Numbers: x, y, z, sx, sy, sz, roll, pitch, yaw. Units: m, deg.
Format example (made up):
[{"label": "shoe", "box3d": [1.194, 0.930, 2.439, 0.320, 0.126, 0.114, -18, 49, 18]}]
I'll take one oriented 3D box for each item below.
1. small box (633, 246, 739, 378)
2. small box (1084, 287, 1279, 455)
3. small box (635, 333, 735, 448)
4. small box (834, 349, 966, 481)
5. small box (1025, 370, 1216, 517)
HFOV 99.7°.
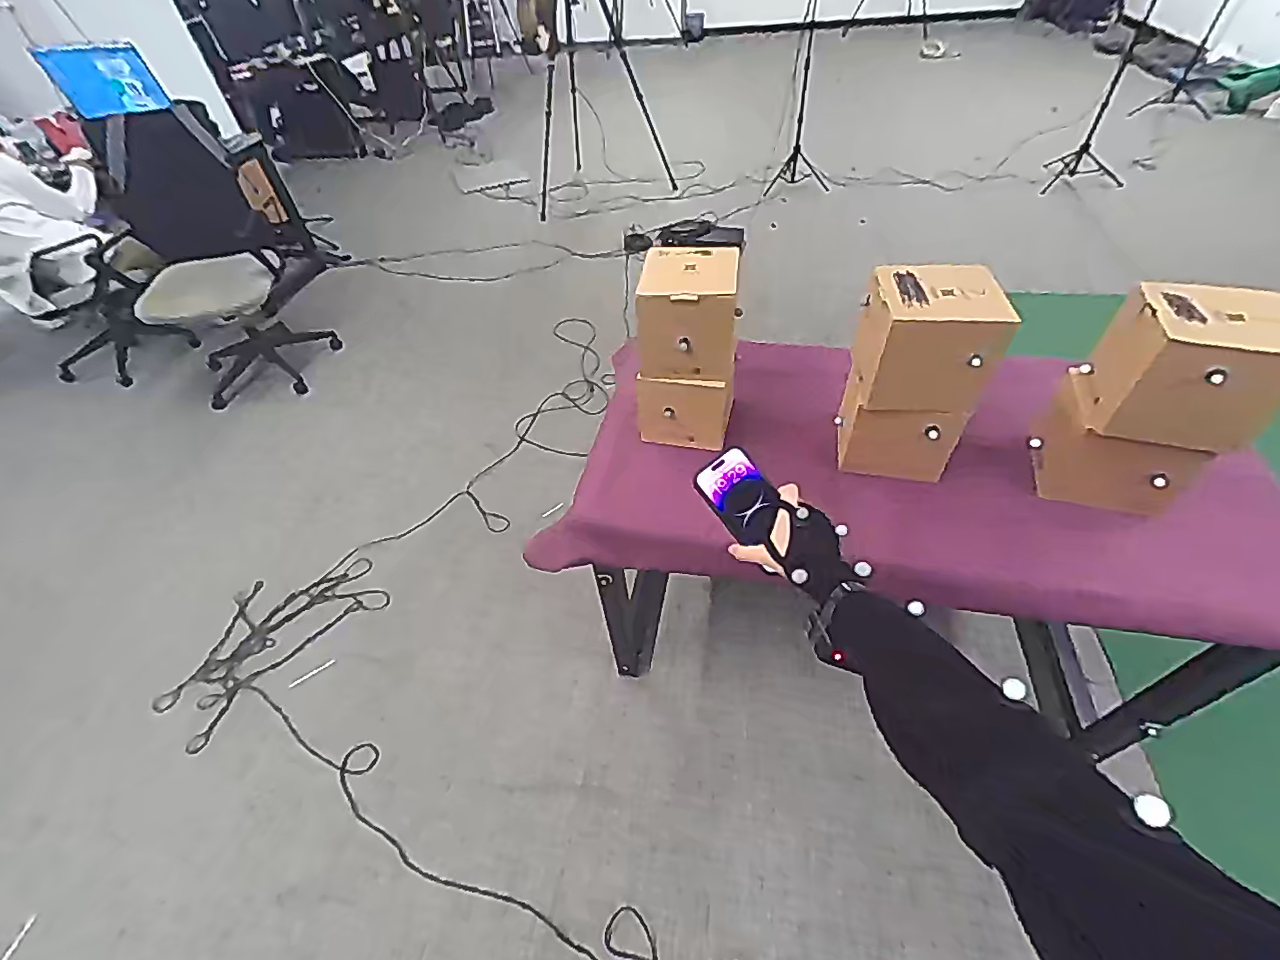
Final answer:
[{"label": "small box", "box3d": [0.087, -0.303, 0.980, 0.168, 0.176, 0.179, 5, 49, 9]}, {"label": "small box", "box3d": [0.788, -0.157, 0.785, 0.179, 0.176, 0.168, 13, 50, 16]}, {"label": "small box", "box3d": [0.096, -0.186, 1.096, 0.168, 0.176, 0.179, 9, 49, 13]}, {"label": "small box", "box3d": [0.468, -0.117, 0.999, 0.179, 0.176, 0.168, 8, 49, 13]}, {"label": "small box", "box3d": [0.794, -0.059, 0.917, 0.179, 0.176, 0.168, 13, 50, 17]}]
